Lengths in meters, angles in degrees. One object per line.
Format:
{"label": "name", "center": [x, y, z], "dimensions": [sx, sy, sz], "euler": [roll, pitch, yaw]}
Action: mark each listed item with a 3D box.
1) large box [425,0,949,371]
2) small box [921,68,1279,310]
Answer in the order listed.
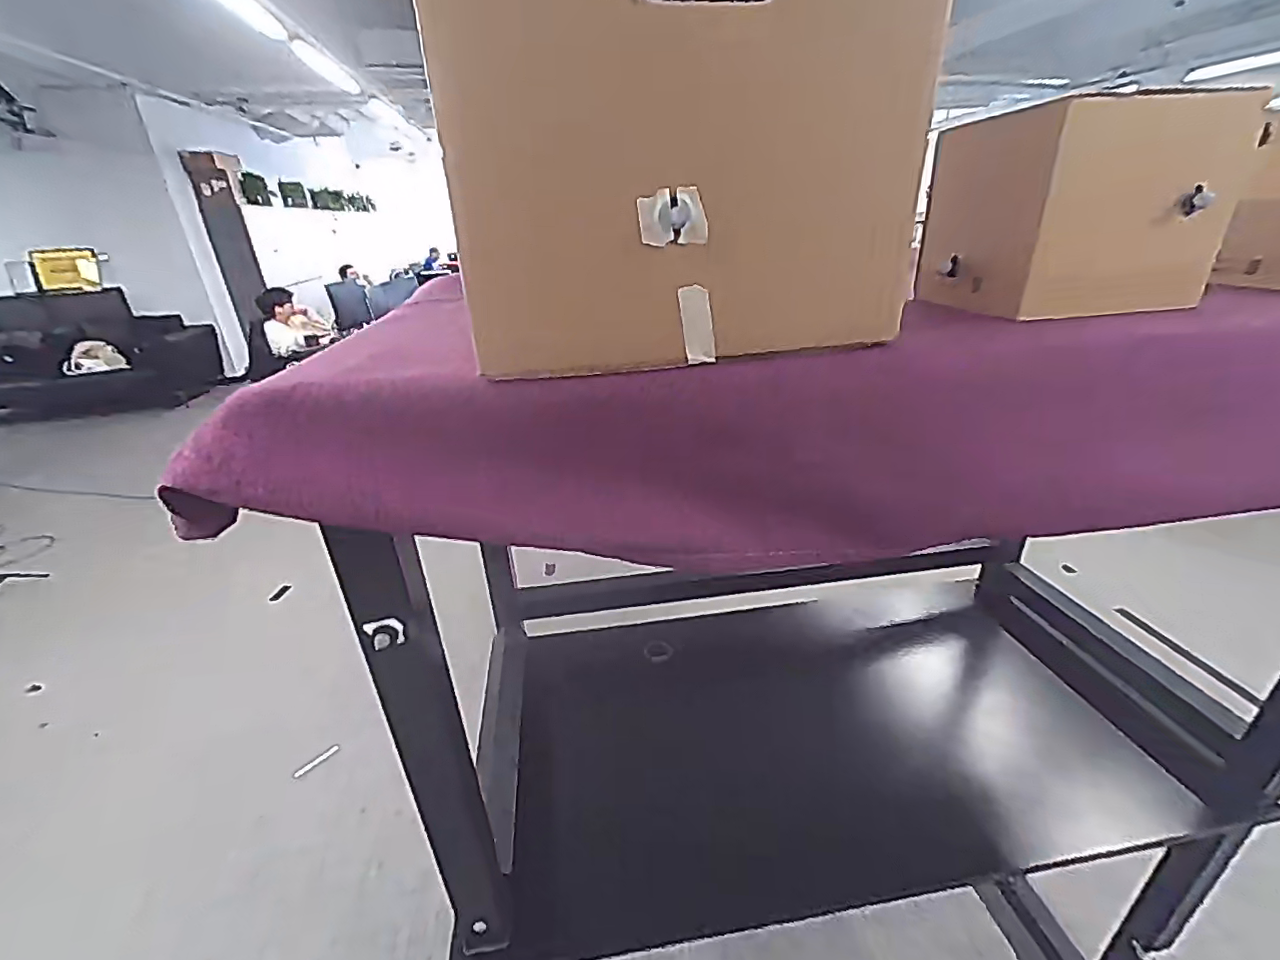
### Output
{"label": "large box", "center": [0.002, -0.303, 0.488], "dimensions": [0.320, 0.320, 0.408], "euler": [-7, 25, -9]}
{"label": "small box", "center": [0.398, -0.261, 0.508], "dimensions": [0.179, 0.176, 0.168], "euler": [-6, 25, -4]}
